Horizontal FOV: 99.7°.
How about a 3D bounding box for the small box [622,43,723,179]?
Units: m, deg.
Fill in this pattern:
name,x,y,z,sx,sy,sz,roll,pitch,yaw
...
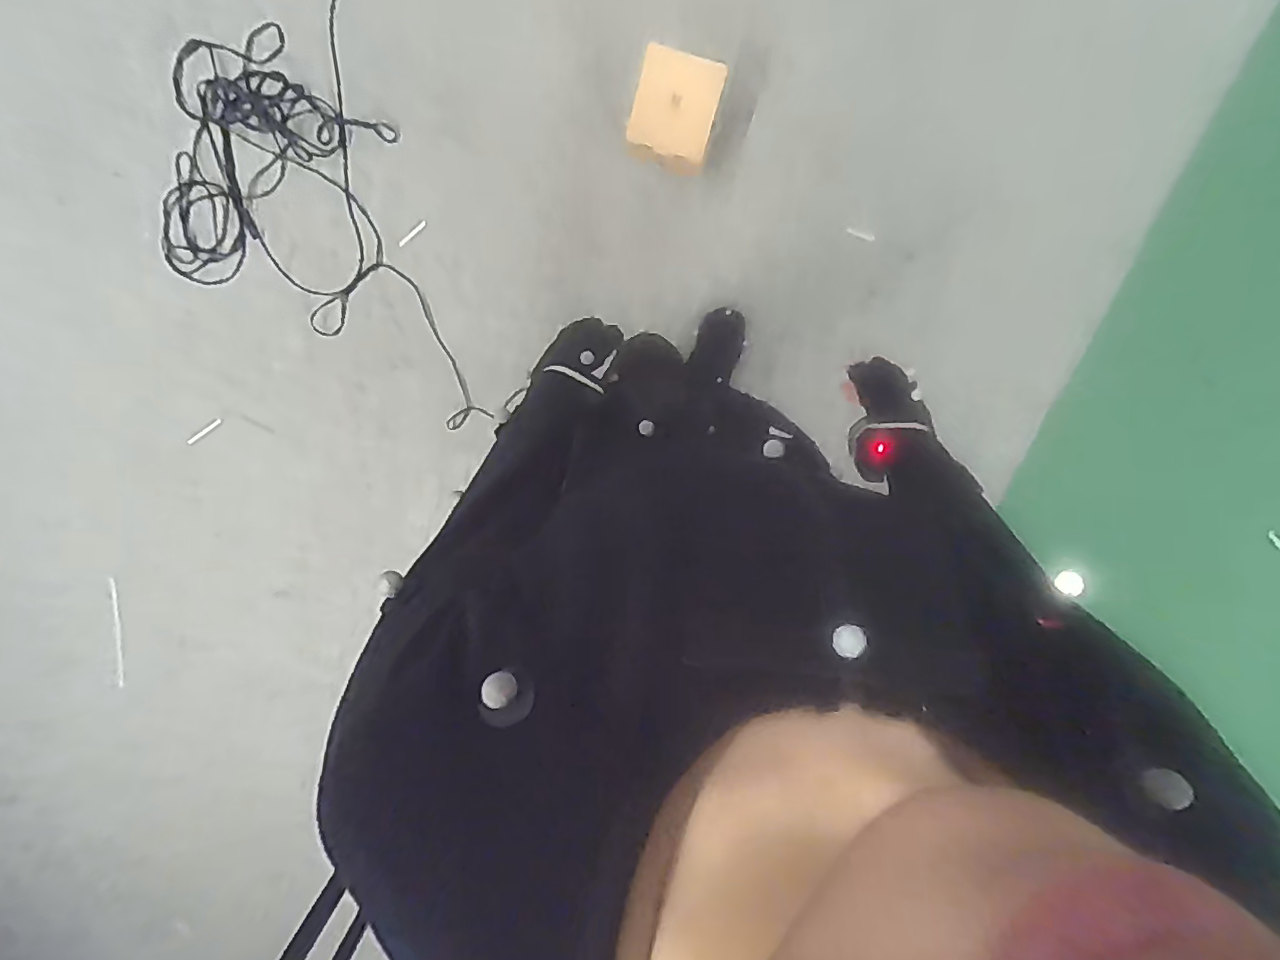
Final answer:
name,x,y,z,sx,sy,sz,roll,pitch,yaw
small box,0.069,-0.777,1.157,0.168,0.176,0.179,17,109,0
